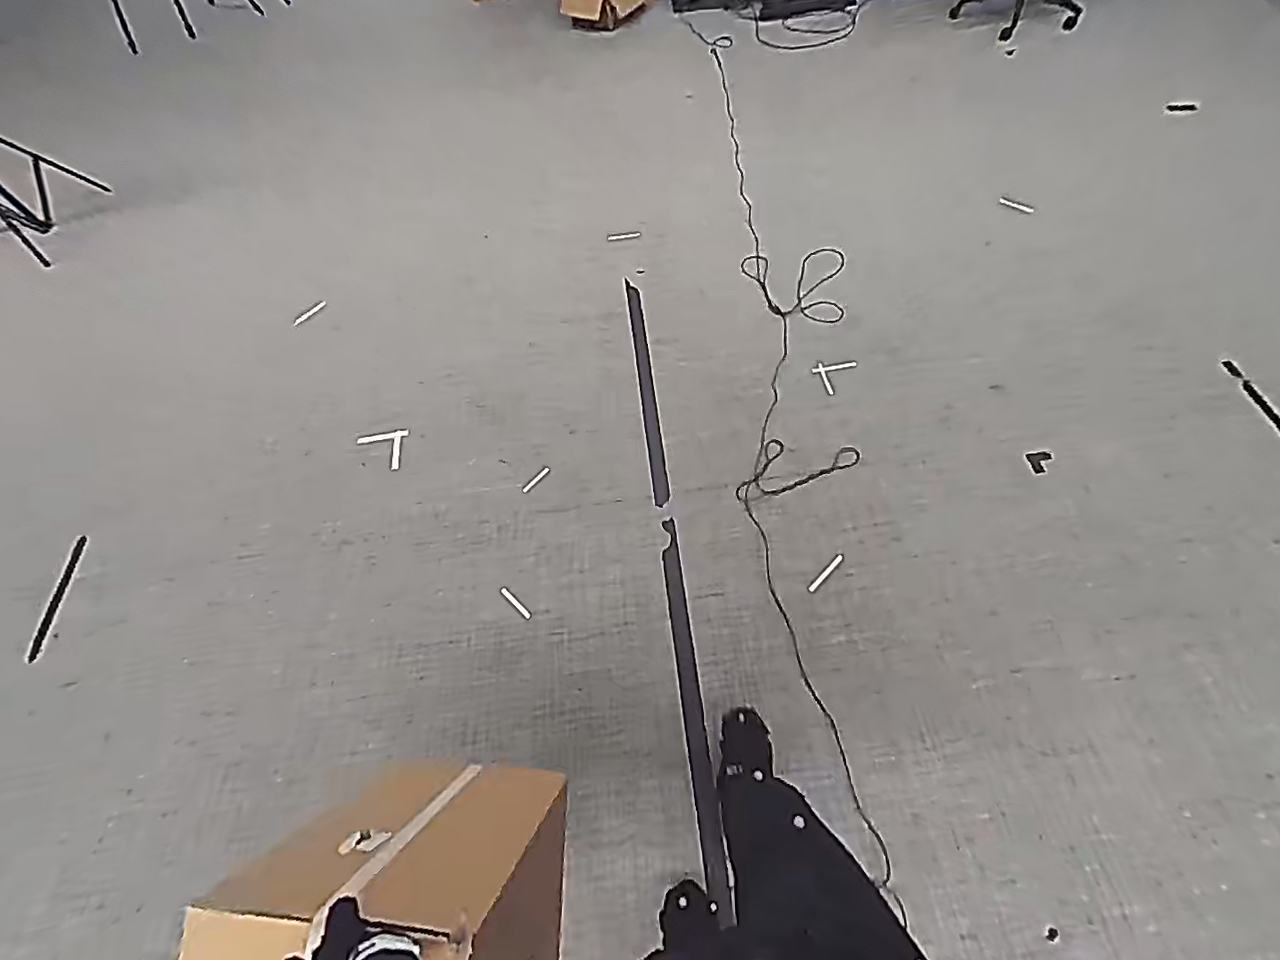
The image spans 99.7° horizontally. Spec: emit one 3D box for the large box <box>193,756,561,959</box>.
[{"bbox_3d":[-0.312,0.631,0.740,0.320,0.408,0.320,1,85,7],"label":"large box"}]
